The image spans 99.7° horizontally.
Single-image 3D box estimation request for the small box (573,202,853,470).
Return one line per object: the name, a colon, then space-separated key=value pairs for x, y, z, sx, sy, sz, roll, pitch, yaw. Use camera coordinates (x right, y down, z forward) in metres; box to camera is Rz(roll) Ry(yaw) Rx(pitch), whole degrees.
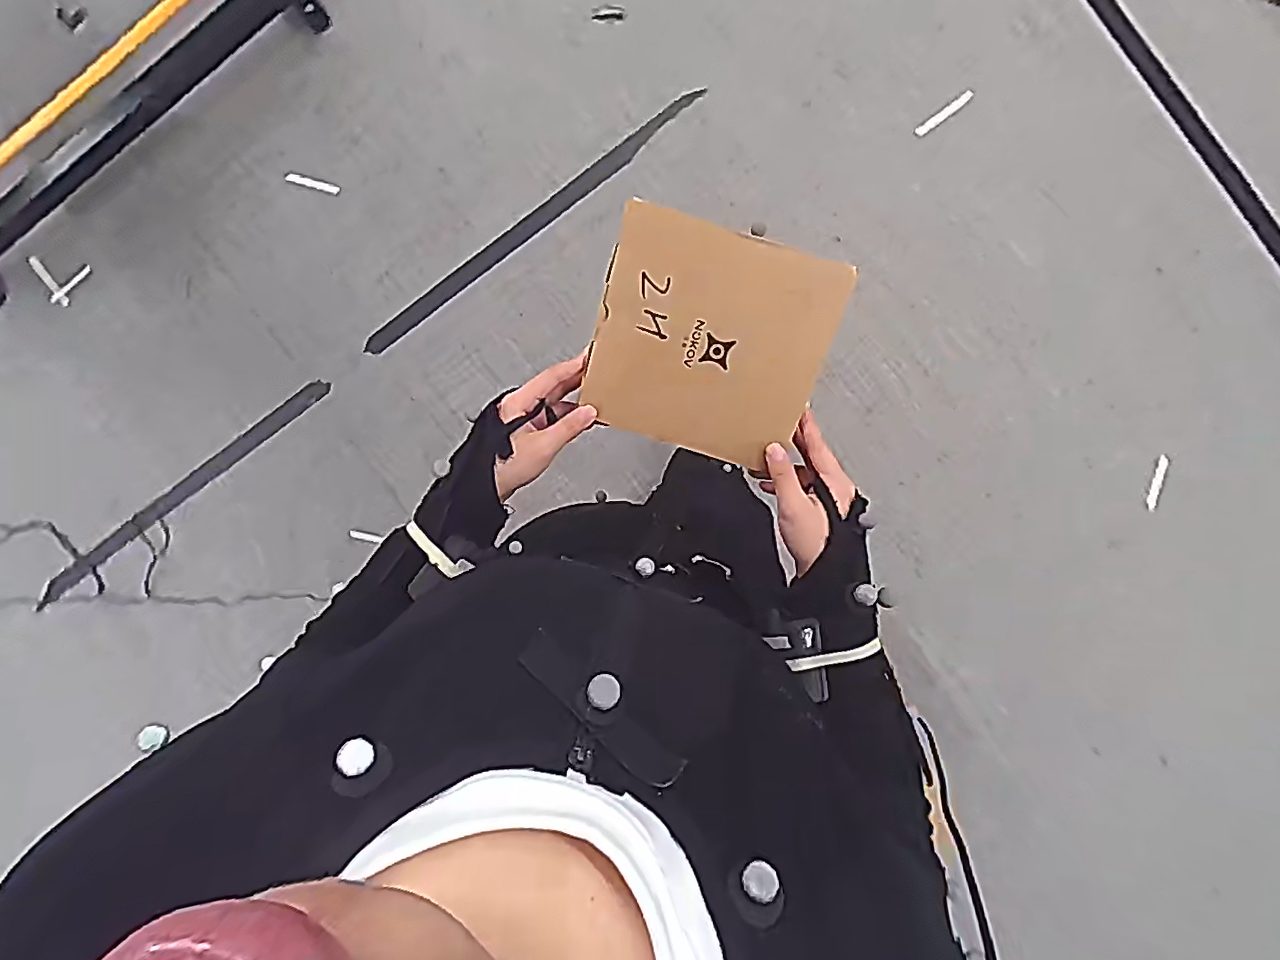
small box: x=0.058 y=-0.131 z=0.489 sx=0.179 sy=0.176 sz=0.168 roll=17 pitch=111 yaw=1
